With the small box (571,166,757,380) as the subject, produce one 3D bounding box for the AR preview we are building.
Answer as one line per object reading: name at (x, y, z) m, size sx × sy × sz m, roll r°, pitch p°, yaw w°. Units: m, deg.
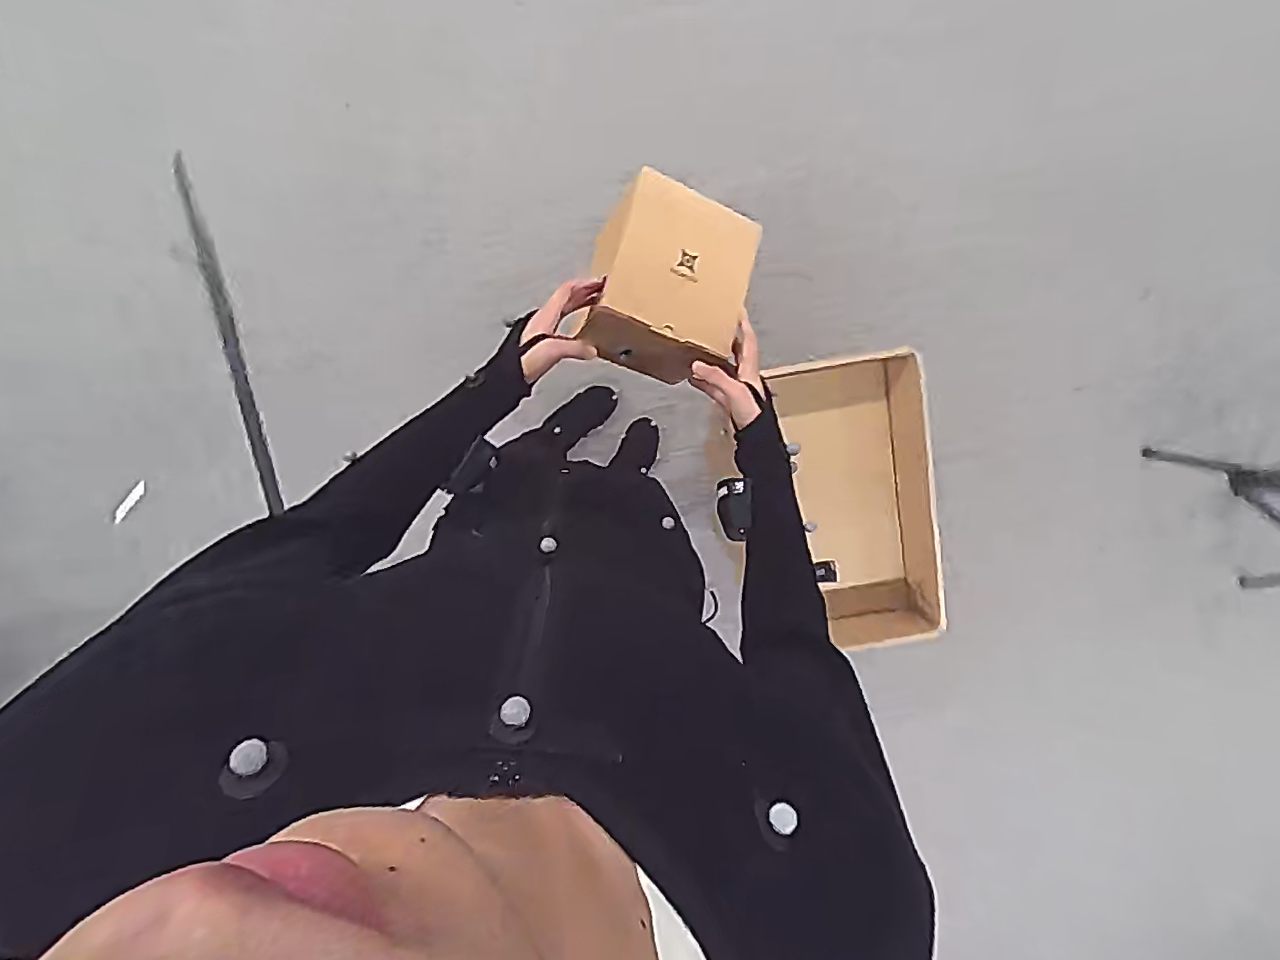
small box at (0.022, -0.247, 0.695) m, size 0.168 × 0.176 × 0.179 m, roll 16°, pitch 85°, yaw -19°
